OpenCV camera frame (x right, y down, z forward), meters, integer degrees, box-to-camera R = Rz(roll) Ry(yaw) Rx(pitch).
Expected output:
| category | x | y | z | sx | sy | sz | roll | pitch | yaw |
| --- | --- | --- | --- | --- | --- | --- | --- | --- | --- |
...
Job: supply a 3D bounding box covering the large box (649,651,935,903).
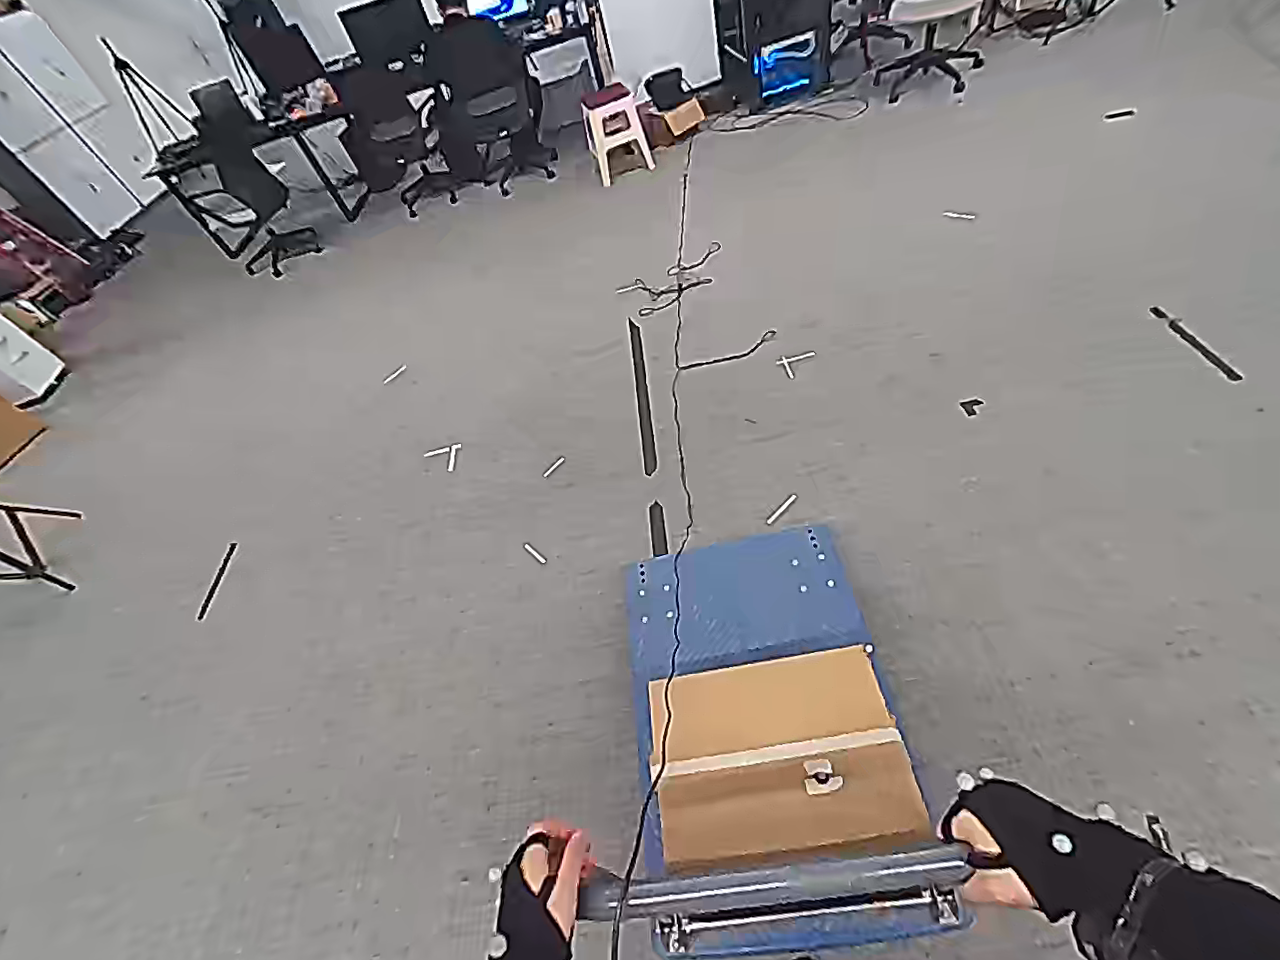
| category | x | y | z | sx | sy | sz | roll | pitch | yaw |
| --- | --- | --- | --- | --- | --- | --- | --- | --- | --- |
| large box | 0.254 | 0.559 | 1.003 | 0.408 | 0.320 | 0.320 | -12 | 48 | 7 |
